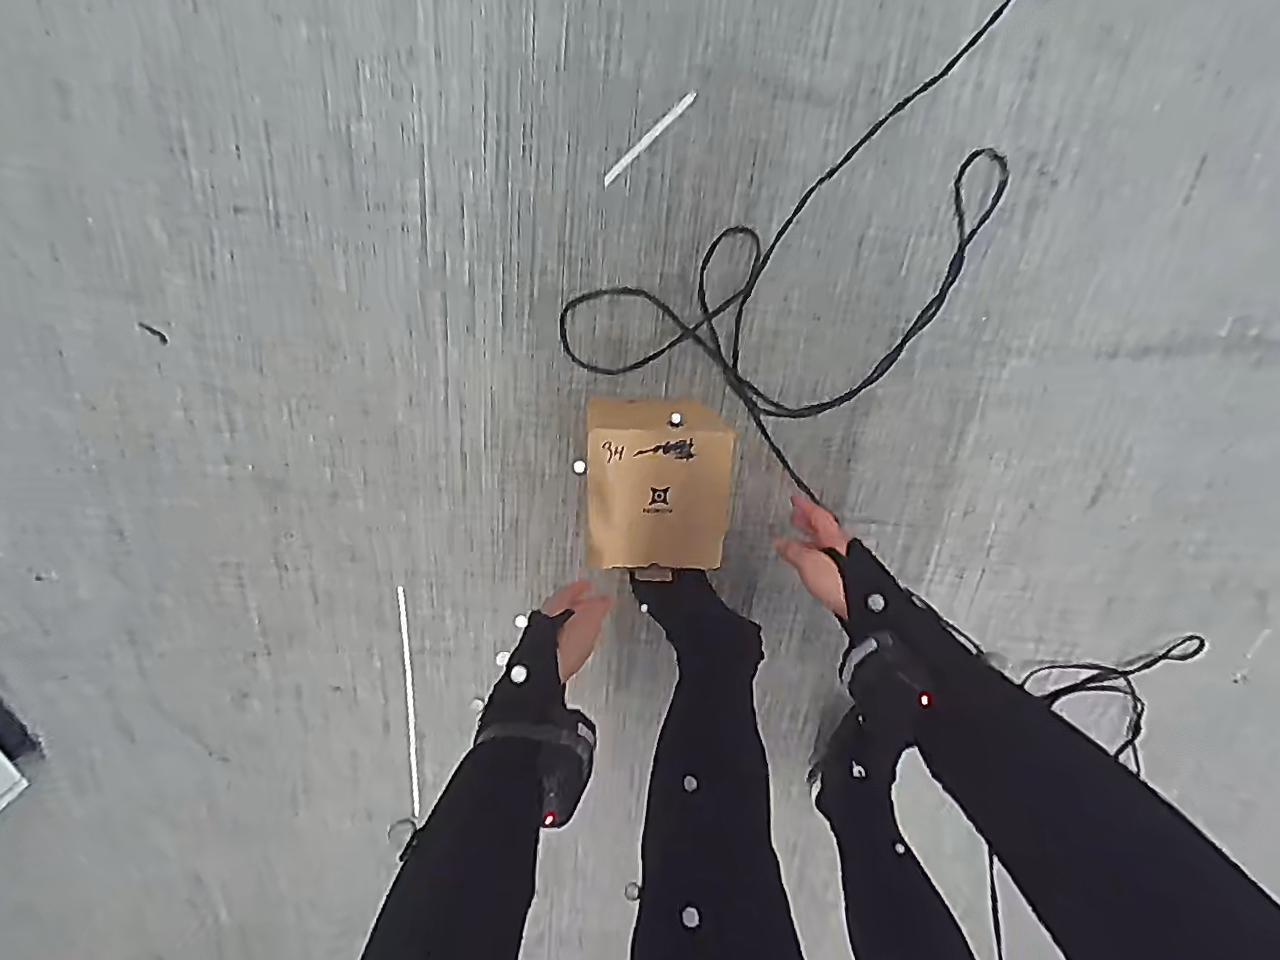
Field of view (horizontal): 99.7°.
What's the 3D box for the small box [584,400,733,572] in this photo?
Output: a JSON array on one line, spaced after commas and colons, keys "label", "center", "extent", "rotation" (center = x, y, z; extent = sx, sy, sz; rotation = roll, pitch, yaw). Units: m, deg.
[{"label": "small box", "center": [0.013, 0.003, 0.703], "extent": [0.168, 0.176, 0.179], "rotation": [1, 110, -6]}]
